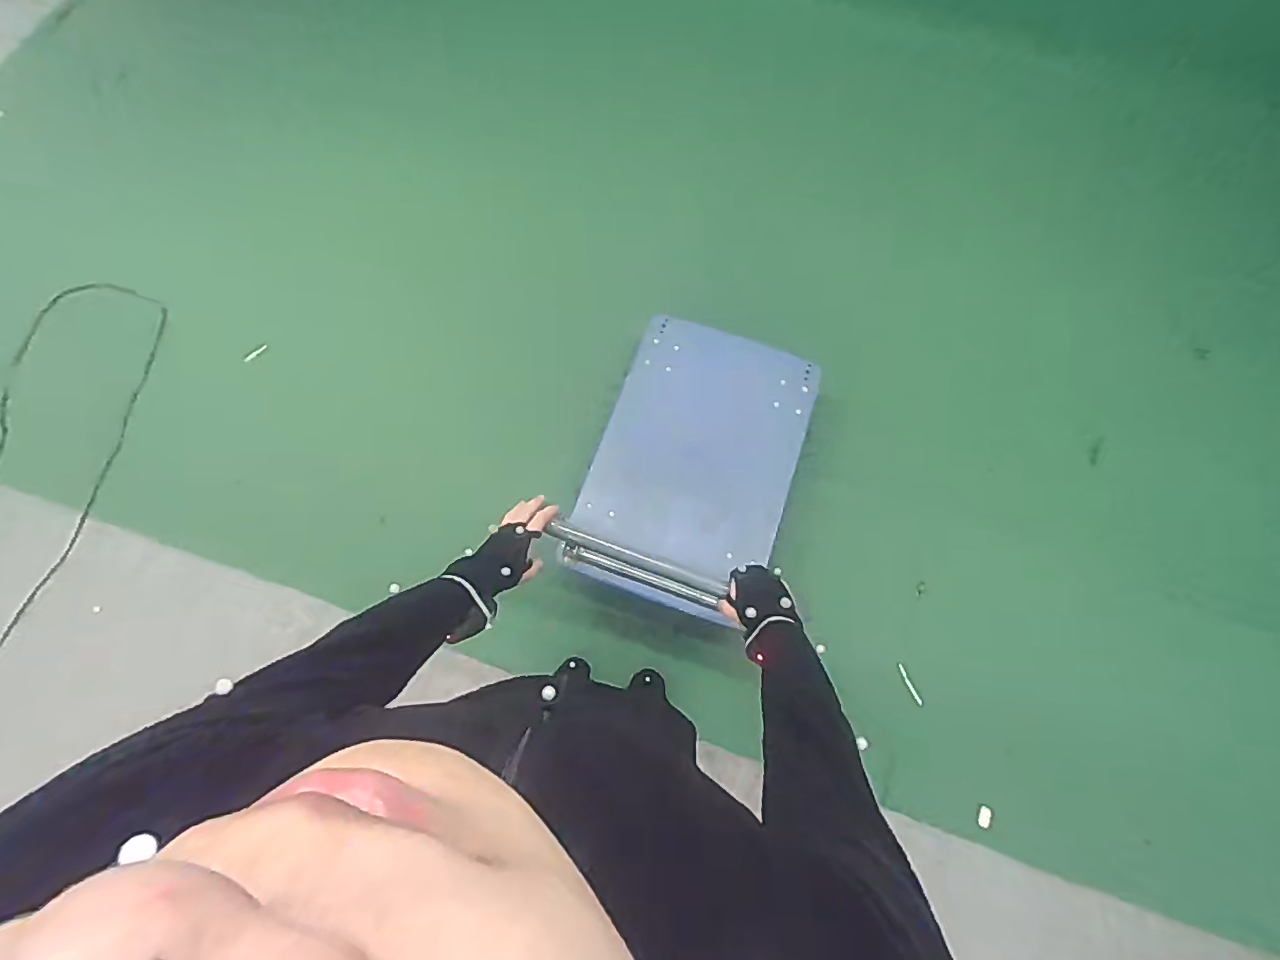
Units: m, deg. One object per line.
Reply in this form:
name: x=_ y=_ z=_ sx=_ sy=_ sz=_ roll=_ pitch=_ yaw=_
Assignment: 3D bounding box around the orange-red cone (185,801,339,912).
orange-red cone: x=-0.920 y=0.924 z=1.278 sx=0.199 sy=0.360 sz=0.198 roll=5 pitch=72 yaw=2
